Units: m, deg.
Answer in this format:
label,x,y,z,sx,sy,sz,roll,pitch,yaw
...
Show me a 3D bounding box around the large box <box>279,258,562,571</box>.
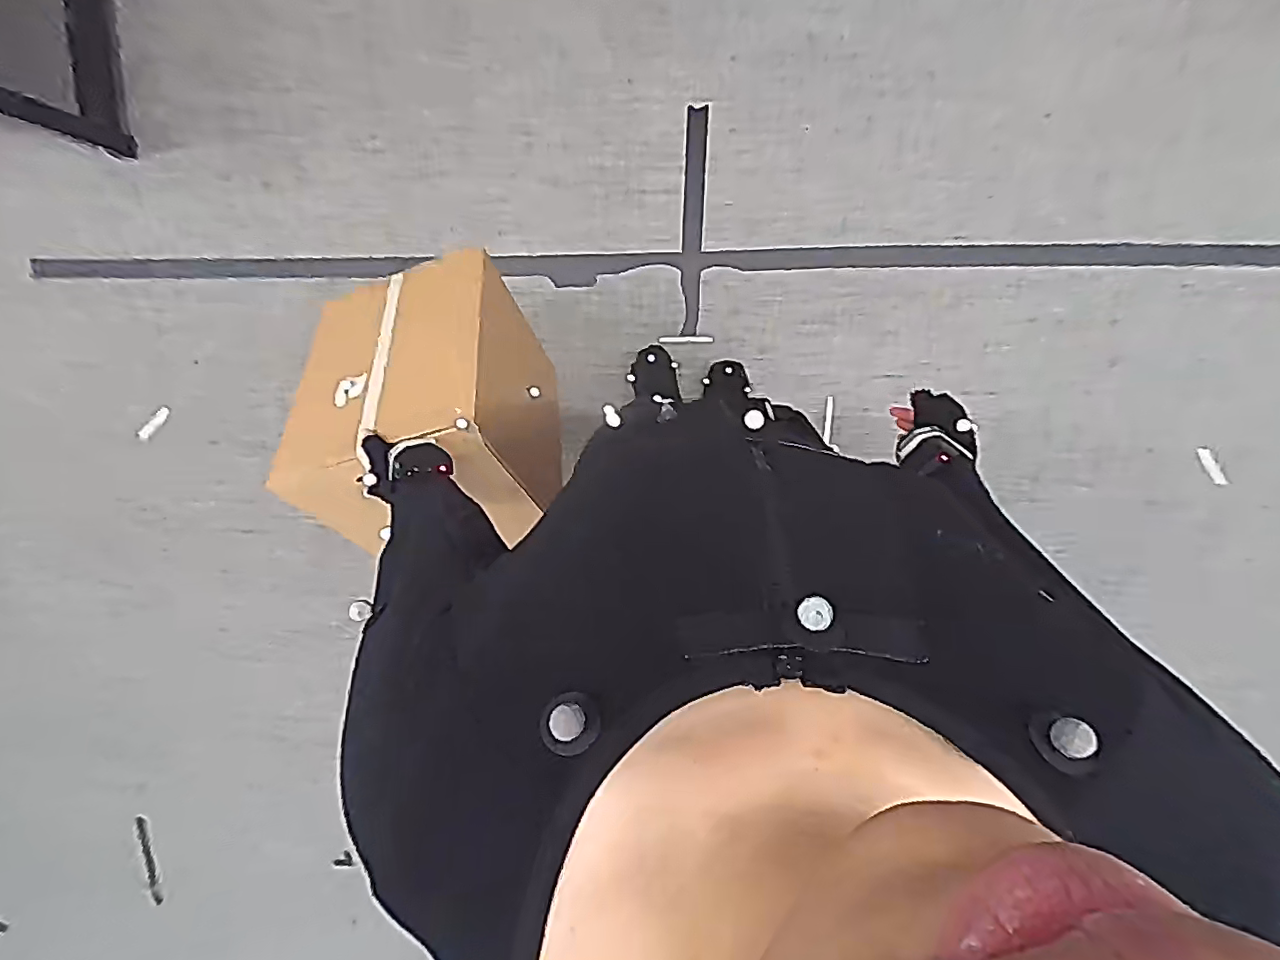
label,x,y,z,sx,sy,sz,roll,pitch,yaw
large box,-0.347,-0.108,0.959,0.320,0.408,0.320,-16,144,9
